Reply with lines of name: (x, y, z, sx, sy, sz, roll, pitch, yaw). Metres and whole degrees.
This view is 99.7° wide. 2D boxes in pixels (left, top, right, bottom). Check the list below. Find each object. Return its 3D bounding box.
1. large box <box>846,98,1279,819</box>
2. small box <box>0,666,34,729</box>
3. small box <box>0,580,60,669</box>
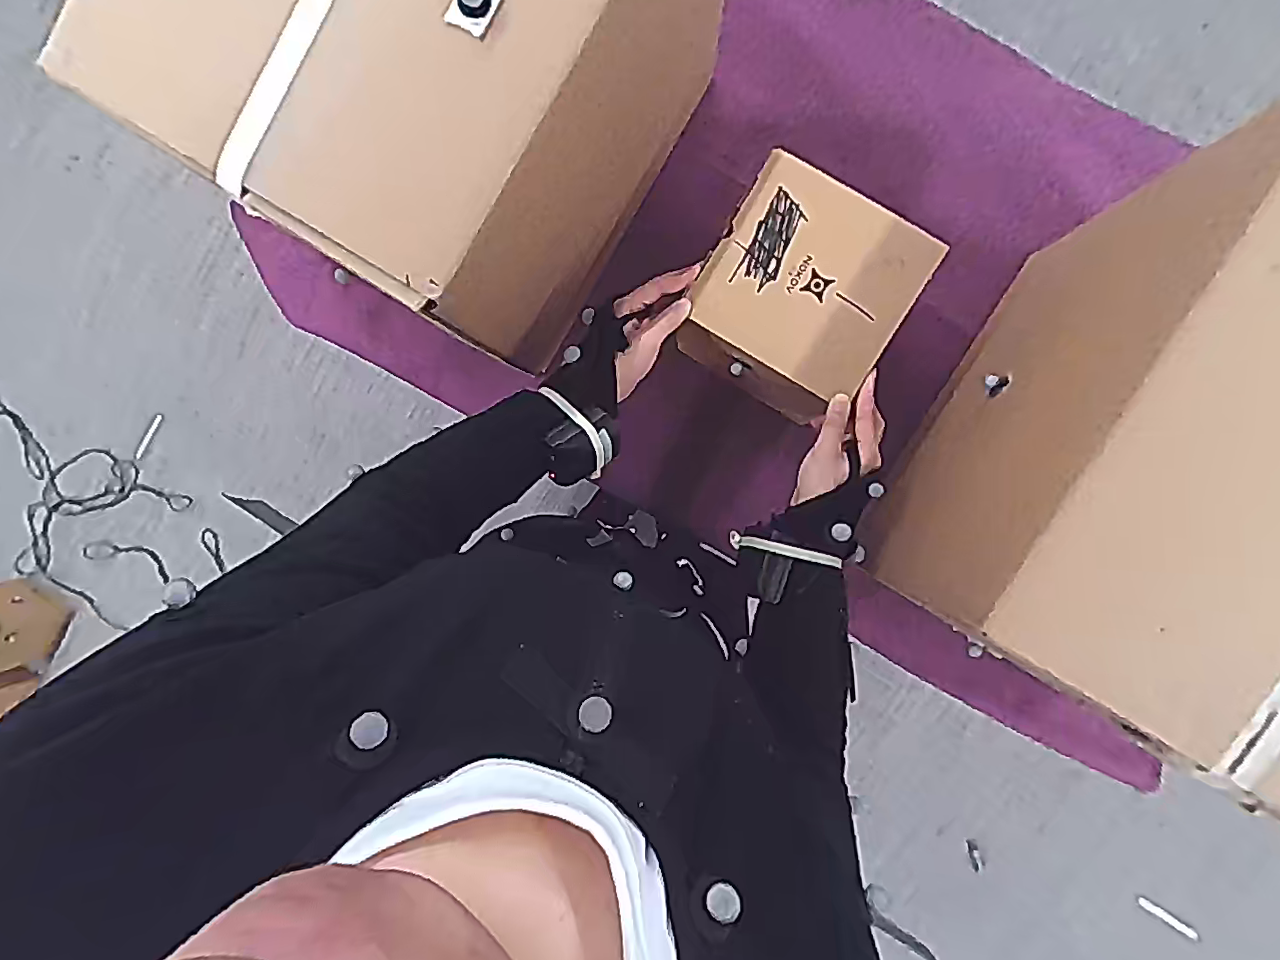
large box: (0.445, 0.003, 0.455, 0.320, 0.320, 0.408, 31, 92, 2)
small box: (-1.825, 0.595, 1.455, 0.179, 0.176, 0.168, 25, 94, 3)
small box: (-1.718, 0.389, 1.435, 0.168, 0.176, 0.179, 33, 95, 3)
